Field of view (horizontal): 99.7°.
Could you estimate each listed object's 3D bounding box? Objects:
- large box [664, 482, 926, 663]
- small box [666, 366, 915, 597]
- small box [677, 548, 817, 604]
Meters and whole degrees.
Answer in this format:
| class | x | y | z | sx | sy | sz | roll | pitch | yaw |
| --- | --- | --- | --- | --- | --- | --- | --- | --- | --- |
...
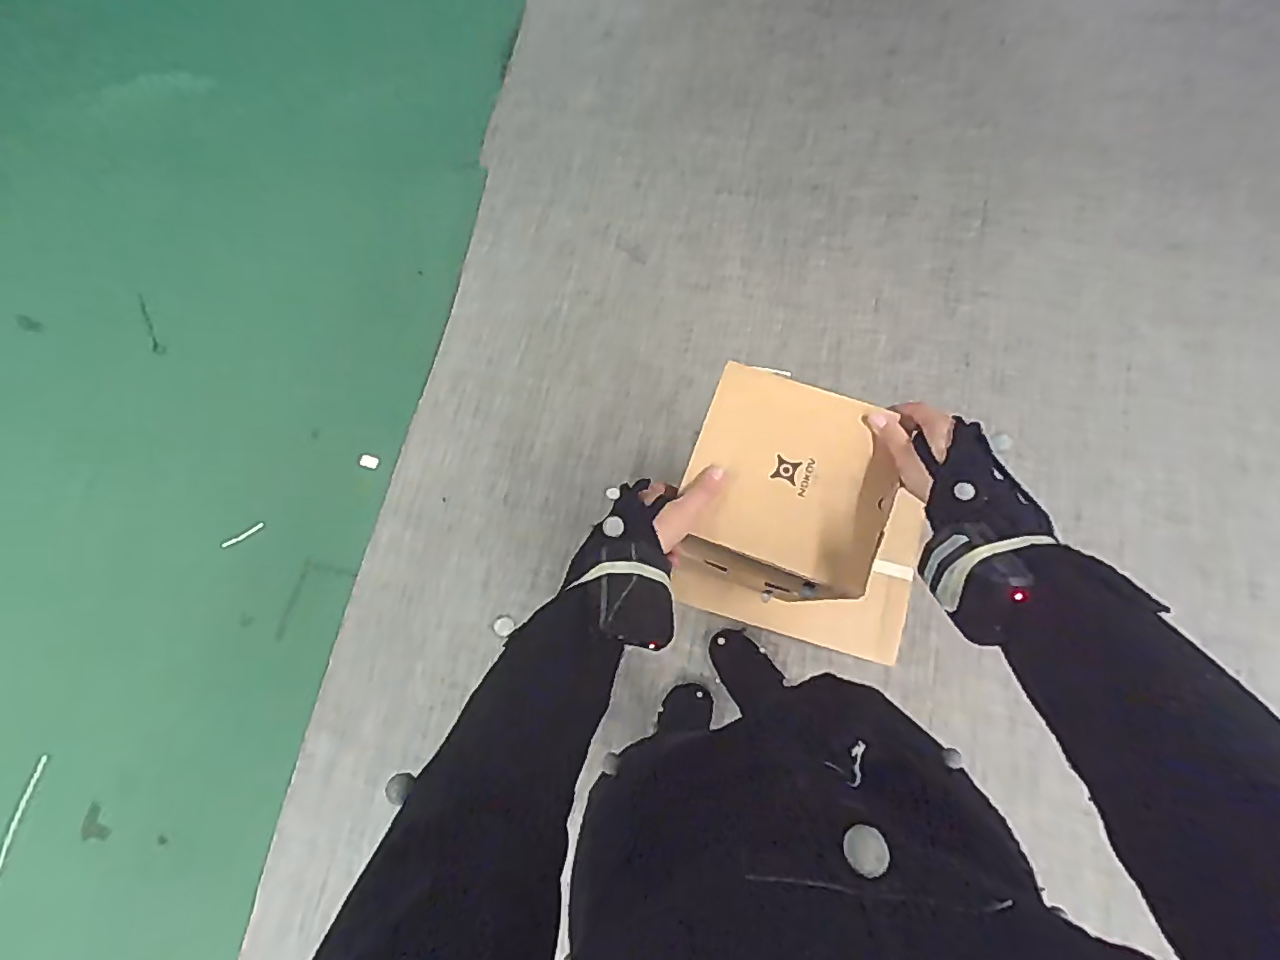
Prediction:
| class | x | y | z | sx | sy | sz | roll | pitch | yaw |
| --- | --- | --- | --- | --- | --- | --- | --- | --- | --- |
| large box | 0.281 | 0.144 | 1.084 | 0.408 | 0.320 | 0.320 | 15 | 80 | 9 |
| small box | 0.137 | 0.014 | 0.545 | 0.179 | 0.176 | 0.168 | 20 | 80 | 8 |
| small box | 0.153 | 0.051 | 0.702 | 0.168 | 0.176 | 0.179 | 18 | 78 | 8 |
